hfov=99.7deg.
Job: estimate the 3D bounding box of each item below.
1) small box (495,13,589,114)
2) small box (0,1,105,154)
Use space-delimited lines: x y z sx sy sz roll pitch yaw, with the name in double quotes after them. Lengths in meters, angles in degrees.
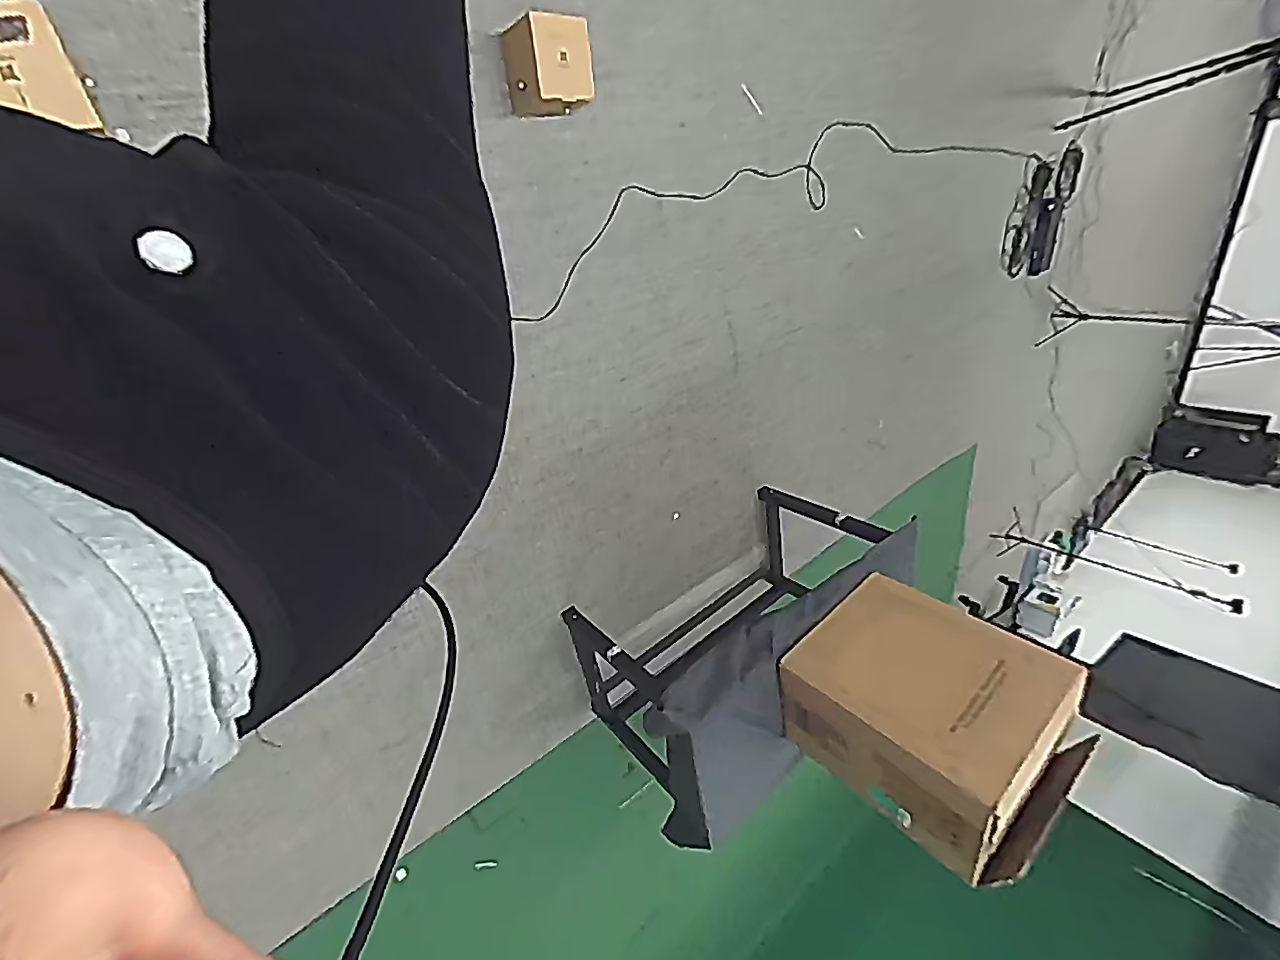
-0.255 -1.068 1.403 0.168 0.176 0.179 -25 119 -31 "small box"
-1.051 -0.664 0.903 0.168 0.176 0.179 -26 122 -29 "small box"
